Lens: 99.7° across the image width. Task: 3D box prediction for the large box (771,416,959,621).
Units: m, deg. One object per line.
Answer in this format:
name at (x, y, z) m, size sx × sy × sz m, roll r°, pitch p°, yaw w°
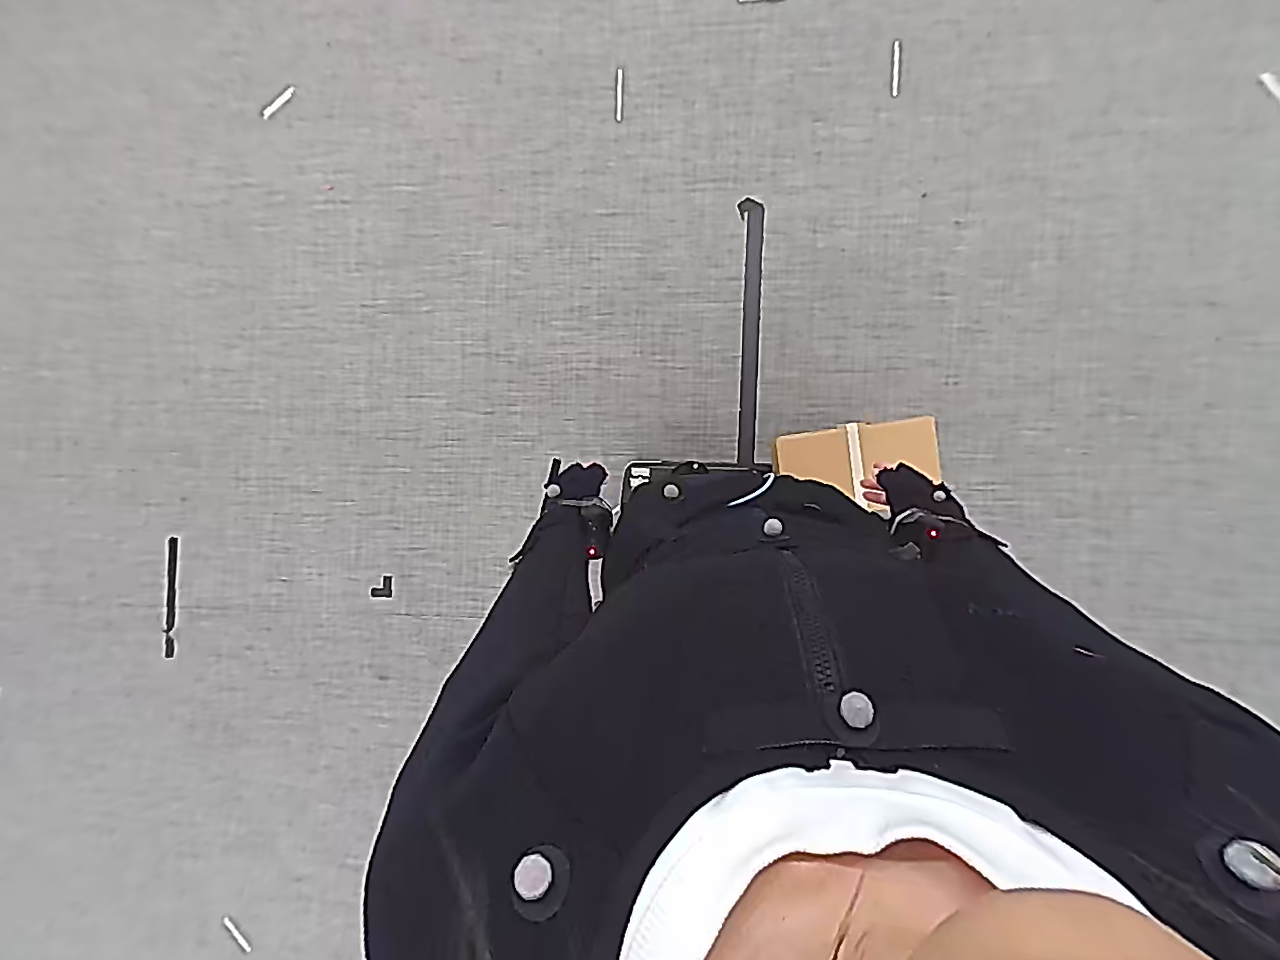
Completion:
large box at (0.497, 0.078, 1.265) m, size 0.320 × 0.320 × 0.408 m, roll -7°, pitch 91°, yaw 12°
